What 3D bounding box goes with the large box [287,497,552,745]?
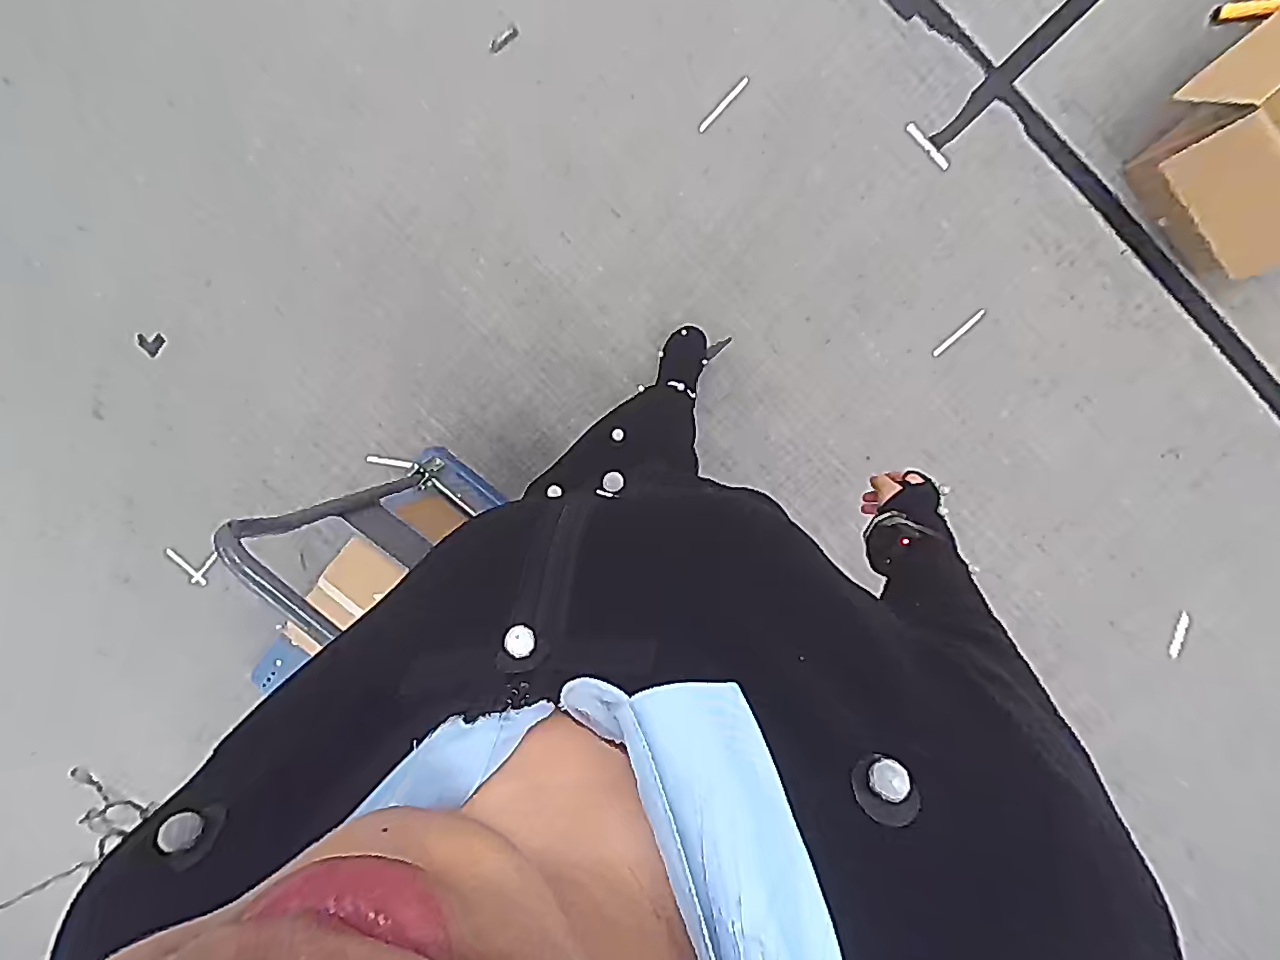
[{"bbox_3d":[-0.477,0.301,1.252,0.408,0.320,0.320,41,100,-2],"label":"large box"}]
